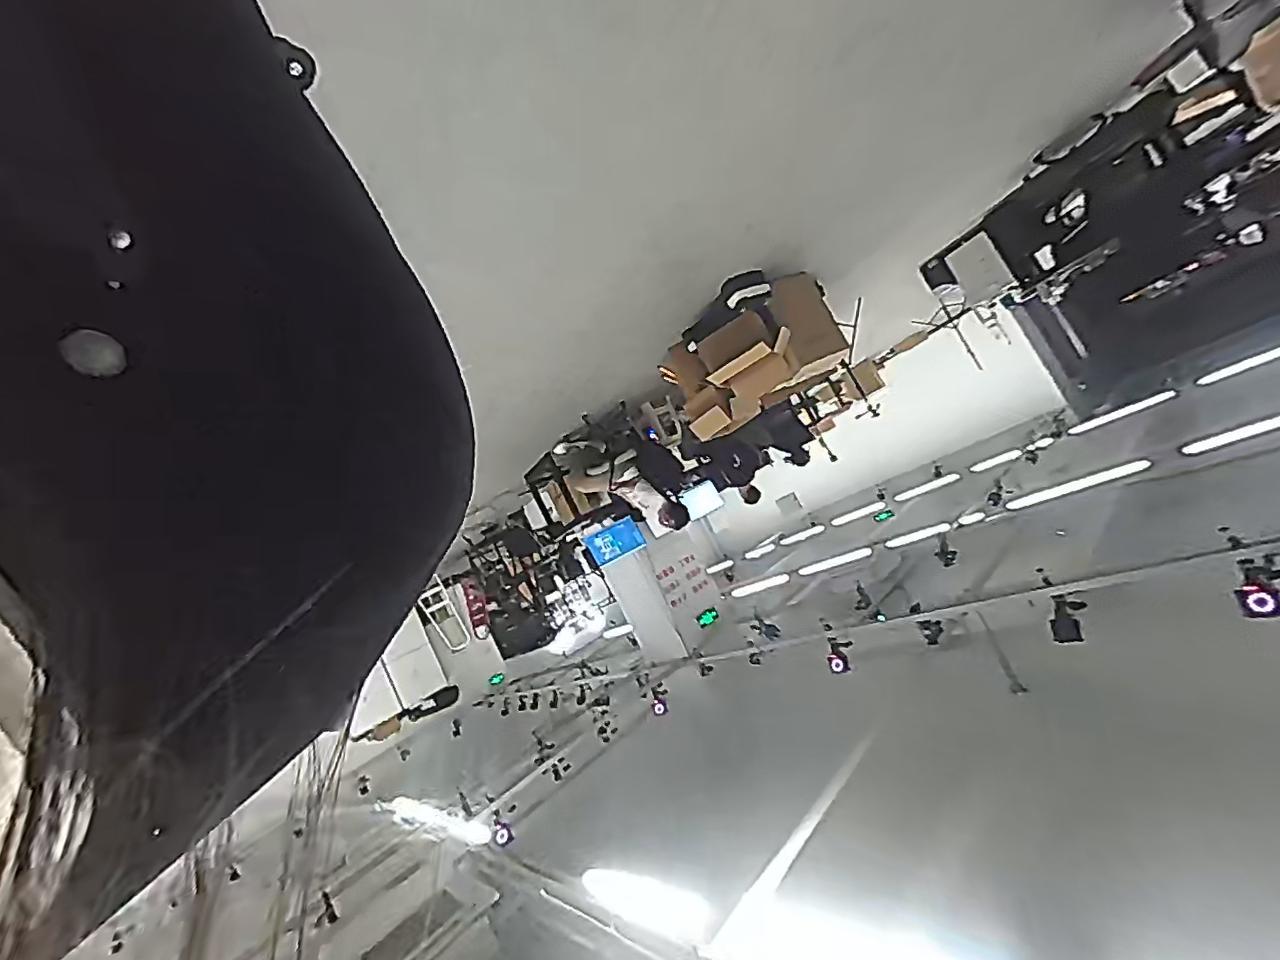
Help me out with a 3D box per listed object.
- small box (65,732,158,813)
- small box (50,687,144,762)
[{"bbox_3d":[-1.761,0.967,1.801,0.179,0.176,0.168,-22,170,-35],"label":"small box"},{"bbox_3d":[-1.835,0.823,1.831,0.179,0.176,0.168,-21,170,-39],"label":"small box"}]
